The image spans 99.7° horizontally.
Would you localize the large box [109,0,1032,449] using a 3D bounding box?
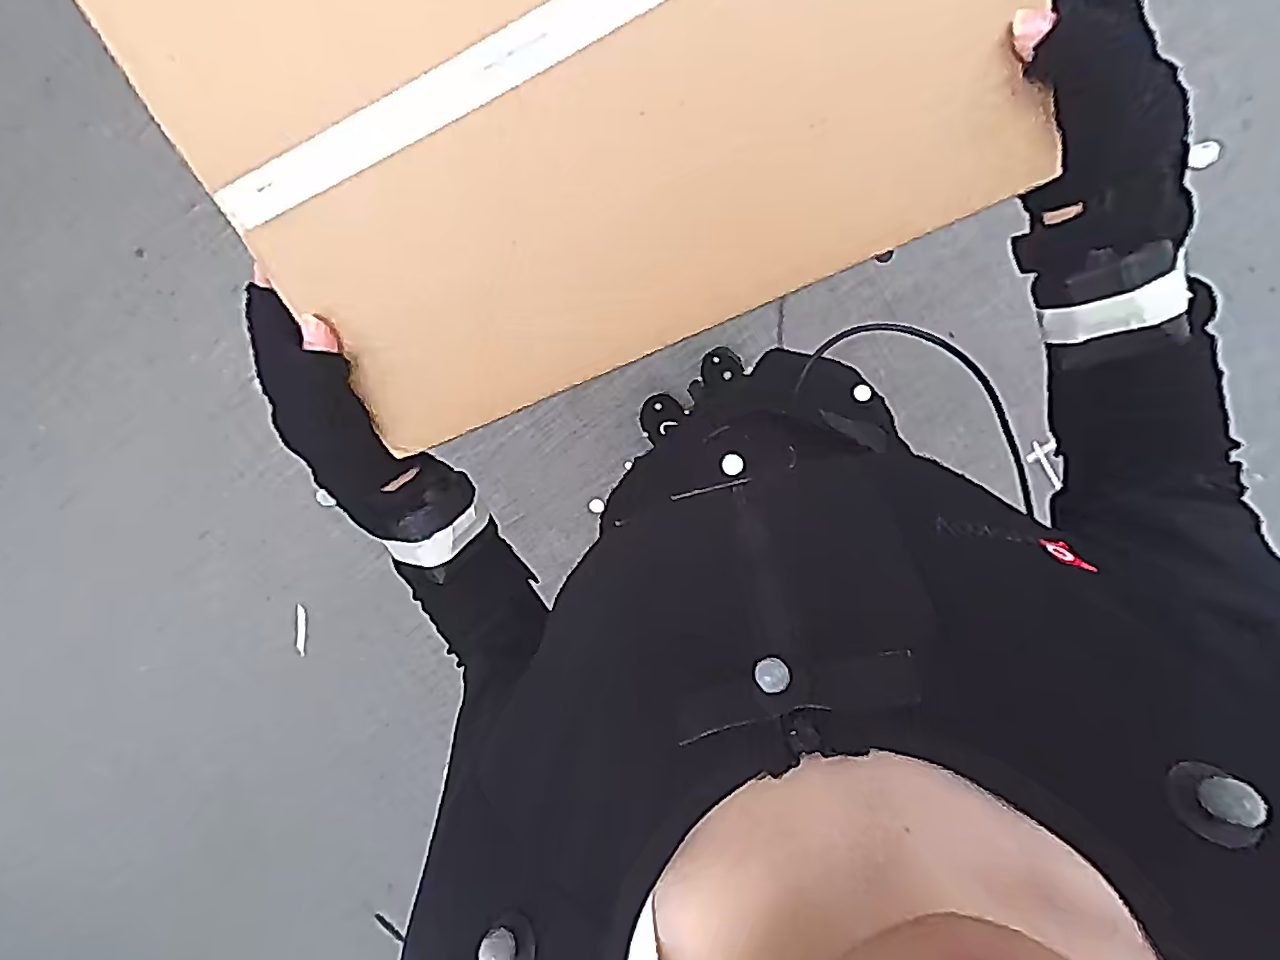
[{"bbox_3d":[-0.029,-0.281,0.394,0.408,0.320,0.320,-21,114,10],"label":"large box"}]
